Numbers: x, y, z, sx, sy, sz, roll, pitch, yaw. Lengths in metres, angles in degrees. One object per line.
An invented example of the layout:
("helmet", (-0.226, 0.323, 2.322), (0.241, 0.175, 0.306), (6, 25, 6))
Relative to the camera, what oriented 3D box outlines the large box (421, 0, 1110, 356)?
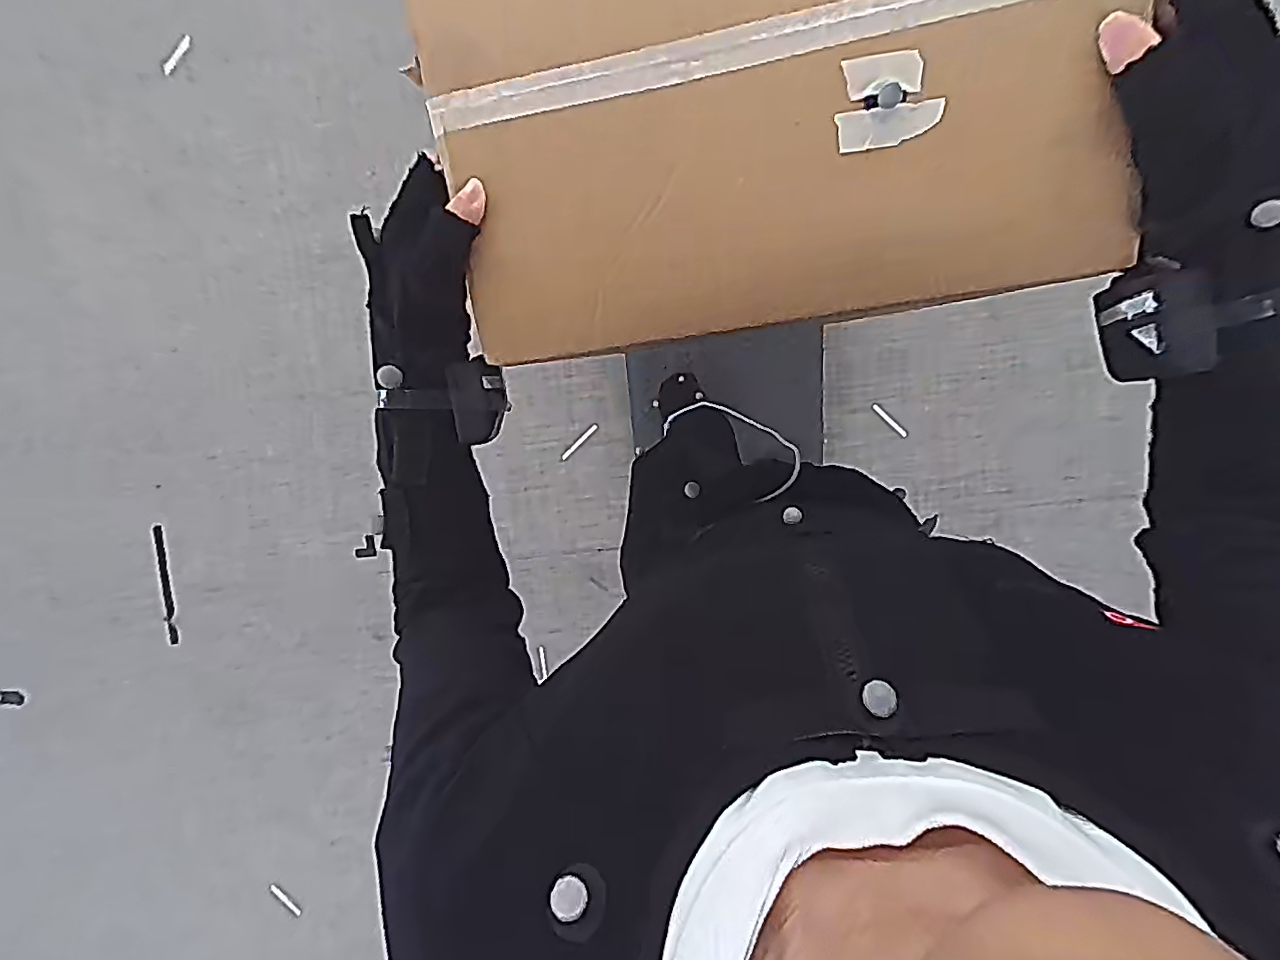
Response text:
("large box", (0.081, -0.296, 0.472), (0.408, 0.320, 0.320), (-7, 103, 7))
